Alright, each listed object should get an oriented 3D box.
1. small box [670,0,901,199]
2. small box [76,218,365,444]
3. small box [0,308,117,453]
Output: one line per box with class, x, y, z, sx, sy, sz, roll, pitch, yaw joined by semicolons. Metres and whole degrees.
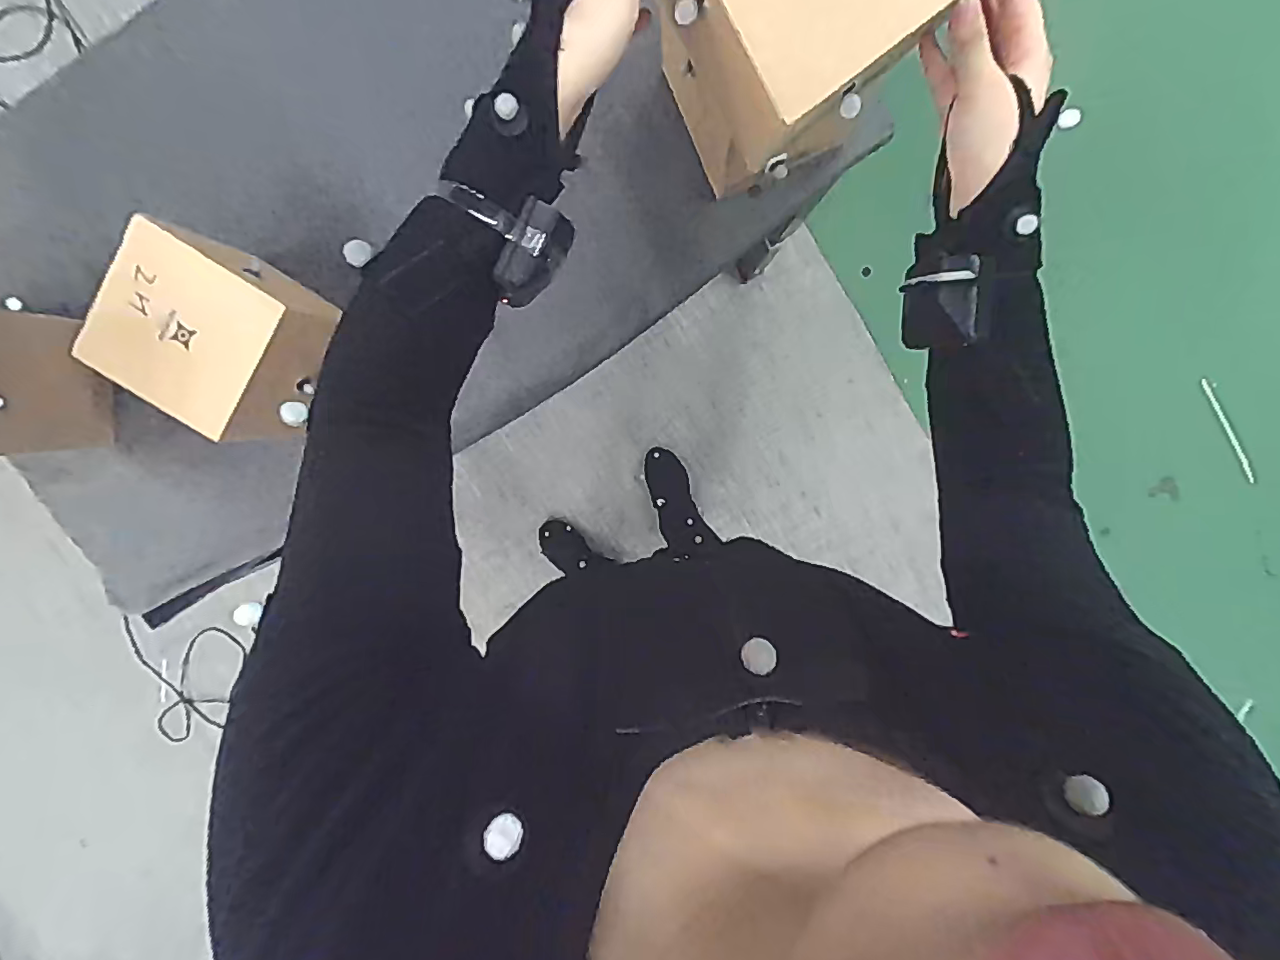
small box;0.134;-0.440;0.568;0.168;0.176;0.179;-23;94;7
small box;-0.466;-0.162;0.632;0.179;0.176;0.168;33;97;-3
small box;-0.792;-0.125;0.648;0.179;0.176;0.168;8;99;0
